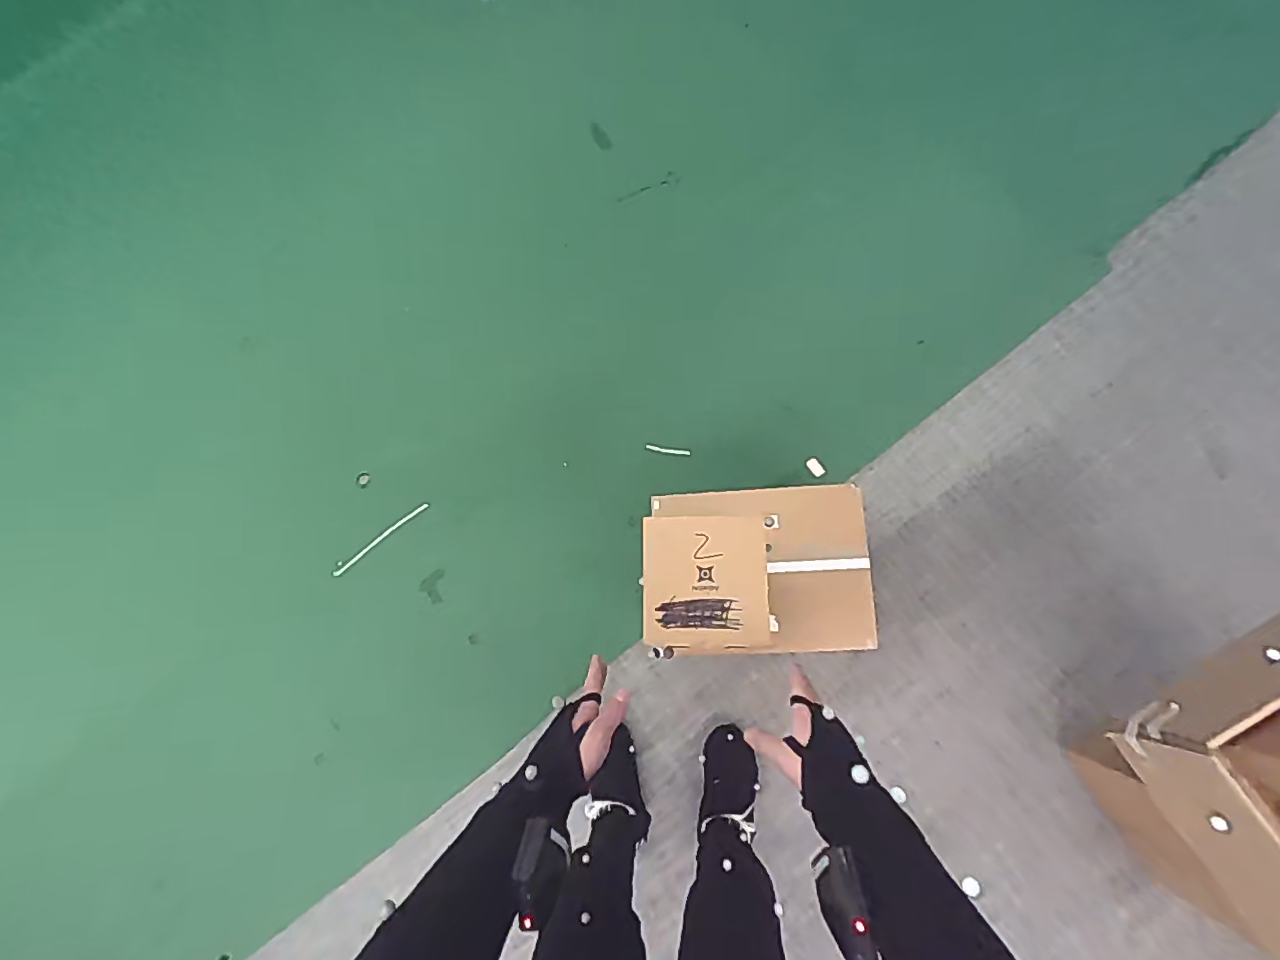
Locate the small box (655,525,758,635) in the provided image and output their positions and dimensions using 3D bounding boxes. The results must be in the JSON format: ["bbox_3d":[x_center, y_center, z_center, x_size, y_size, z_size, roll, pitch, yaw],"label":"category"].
[{"bbox_3d":[0.113,0.176,0.951,0.168,0.176,0.179,-2,79,6],"label":"small box"}]
